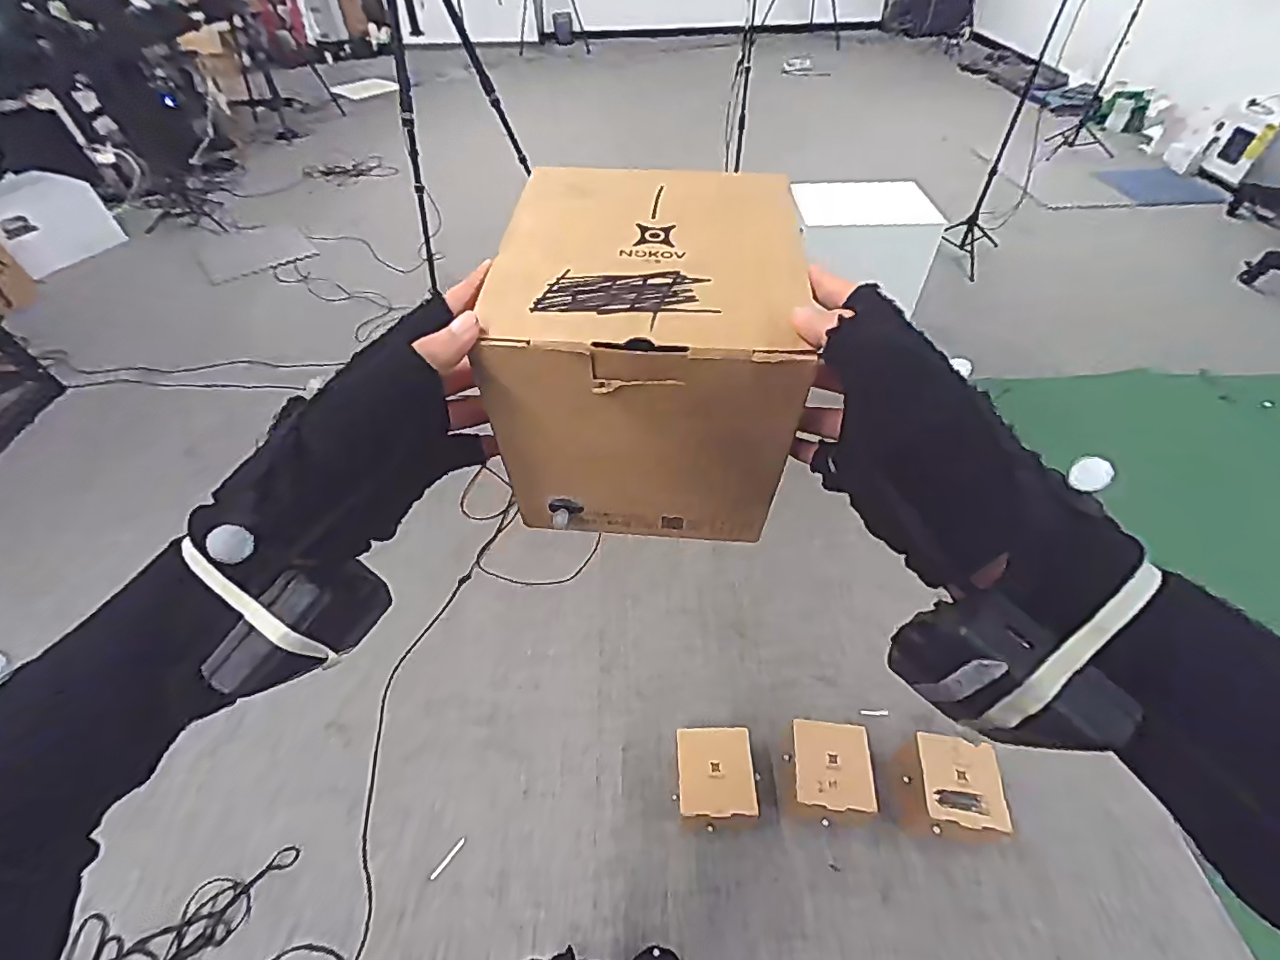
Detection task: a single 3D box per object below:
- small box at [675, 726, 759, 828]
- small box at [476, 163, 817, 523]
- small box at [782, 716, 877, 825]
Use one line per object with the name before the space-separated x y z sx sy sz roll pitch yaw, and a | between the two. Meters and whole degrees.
small box | 0.168 0.684 1.243 0.168 0.176 0.179 -2 49 1
small box | 0.010 -0.087 0.365 0.168 0.176 0.179 4 53 3
small box | 0.425 0.669 1.246 0.168 0.176 0.179 4 49 6
